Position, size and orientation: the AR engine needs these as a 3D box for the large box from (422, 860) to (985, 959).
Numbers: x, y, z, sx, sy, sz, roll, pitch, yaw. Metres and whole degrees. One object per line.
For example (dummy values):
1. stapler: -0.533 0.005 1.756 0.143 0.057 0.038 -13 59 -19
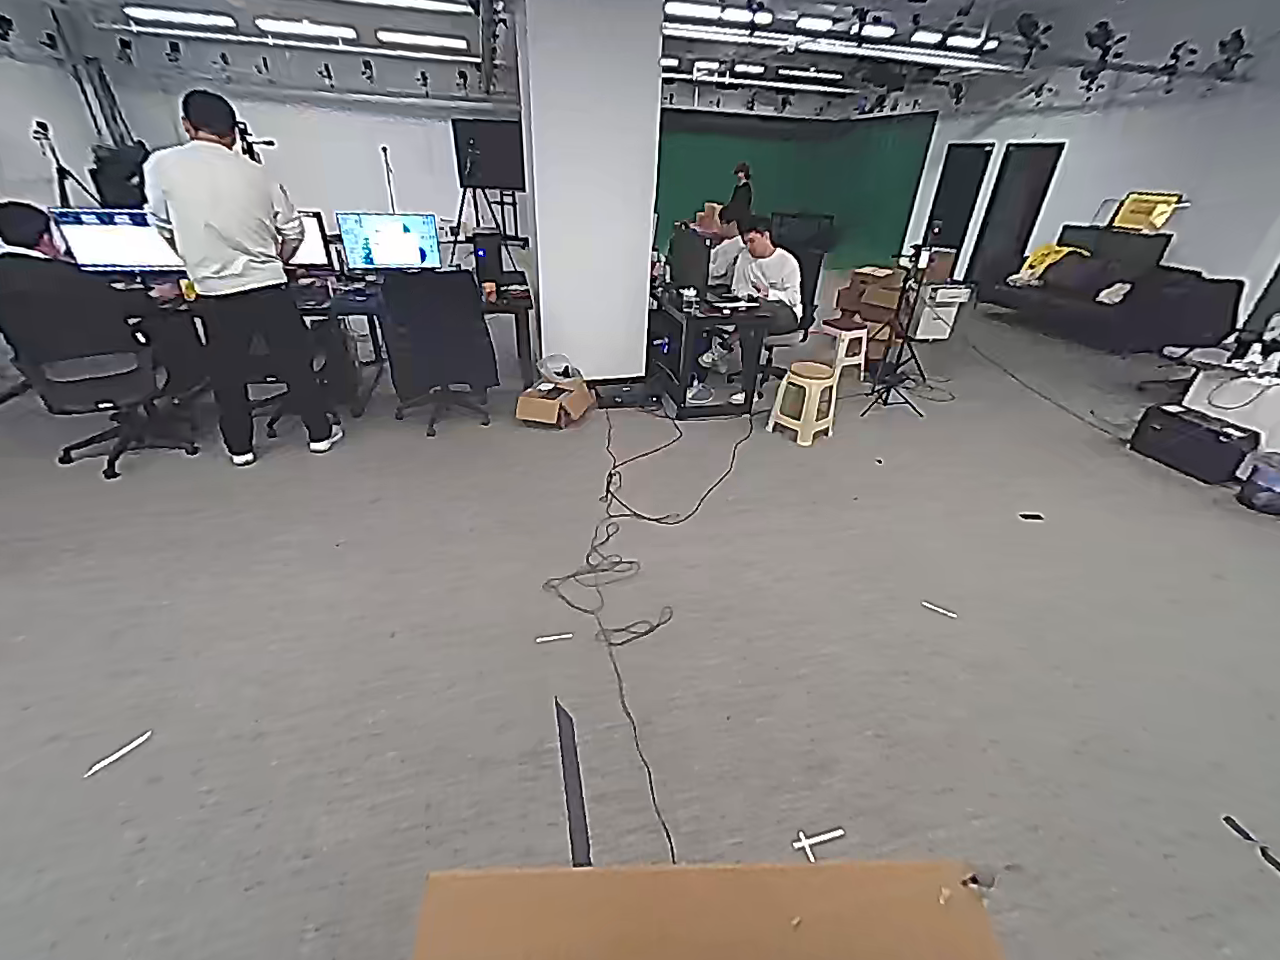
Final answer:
1. large box: 0.046 0.513 0.427 0.408 0.320 0.320 -1 51 -2
